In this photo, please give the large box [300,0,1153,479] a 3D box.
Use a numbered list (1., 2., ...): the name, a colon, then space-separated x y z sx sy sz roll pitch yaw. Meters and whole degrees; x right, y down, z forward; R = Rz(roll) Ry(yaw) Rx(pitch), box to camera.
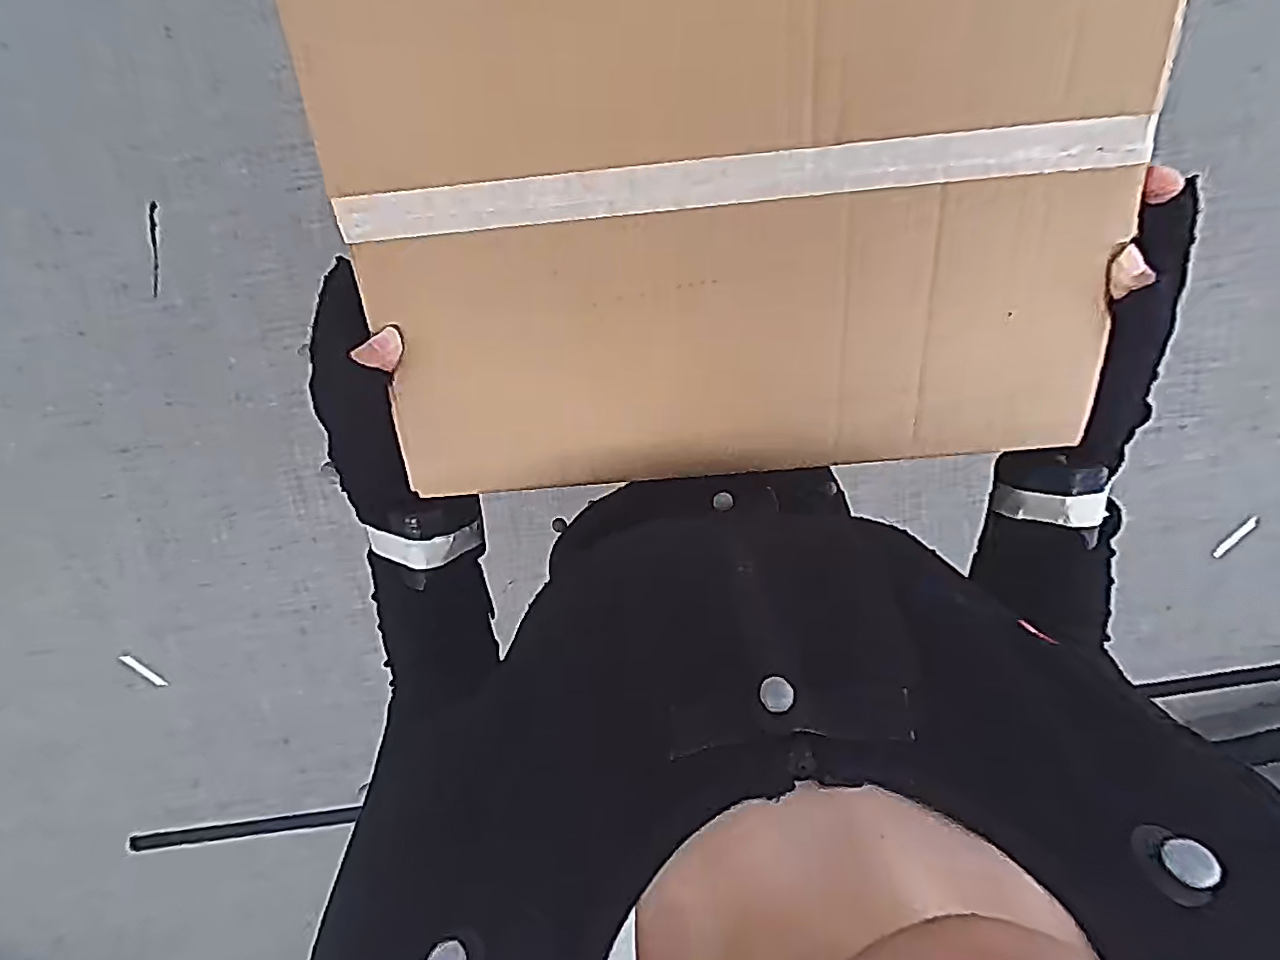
1. large box: 0.043 -0.215 0.418 0.408 0.320 0.320 -5 113 1
